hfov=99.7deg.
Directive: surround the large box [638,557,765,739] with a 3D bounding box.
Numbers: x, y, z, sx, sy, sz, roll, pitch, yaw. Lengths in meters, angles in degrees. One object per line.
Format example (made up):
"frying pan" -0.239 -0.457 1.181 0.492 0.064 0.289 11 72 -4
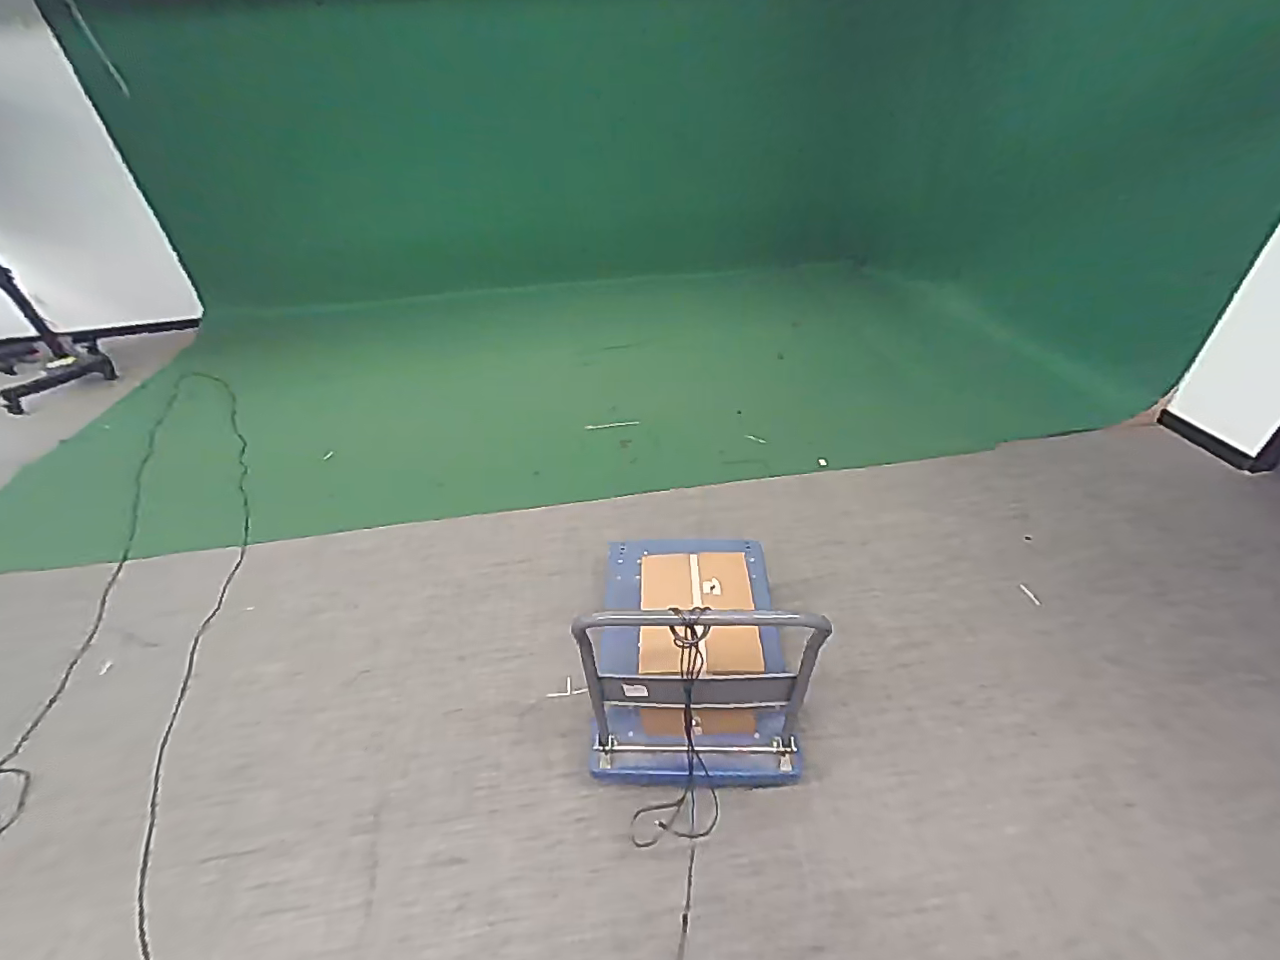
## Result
"large box" 0.164 0.476 1.557 0.320 0.320 0.408 -1 37 3
